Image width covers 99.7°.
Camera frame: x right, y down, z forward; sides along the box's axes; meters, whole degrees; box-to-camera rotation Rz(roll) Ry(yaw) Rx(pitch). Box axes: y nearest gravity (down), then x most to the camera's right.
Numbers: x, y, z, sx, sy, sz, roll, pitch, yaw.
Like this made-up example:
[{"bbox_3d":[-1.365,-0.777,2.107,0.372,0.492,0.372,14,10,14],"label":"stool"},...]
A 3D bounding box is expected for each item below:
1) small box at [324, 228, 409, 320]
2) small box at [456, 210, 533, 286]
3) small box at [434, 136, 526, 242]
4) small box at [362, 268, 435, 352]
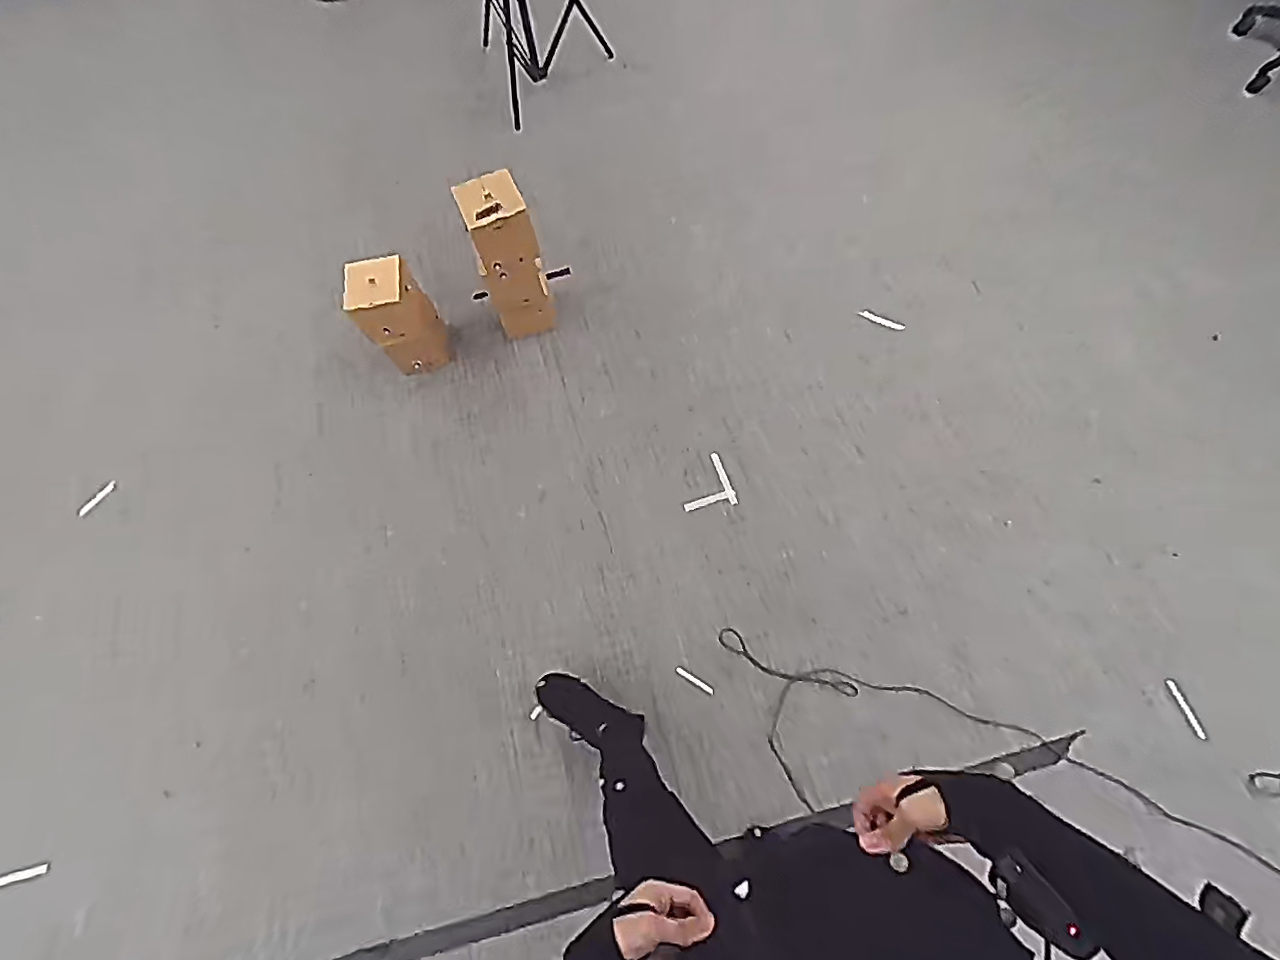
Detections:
[{"bbox_3d":[-0.800,-0.604,1.594,0.168,0.176,0.179,-11,69,0],"label":"small box"},{"bbox_3d":[-0.432,-0.716,1.616,0.168,0.176,0.179,-17,68,-4],"label":"small box"},{"bbox_3d":[-0.425,-0.774,1.461,0.168,0.176,0.179,-24,70,-7],"label":"small box"},{"bbox_3d":[-0.780,-0.545,1.744,0.168,0.176,0.179,-14,68,-2],"label":"small box"}]
